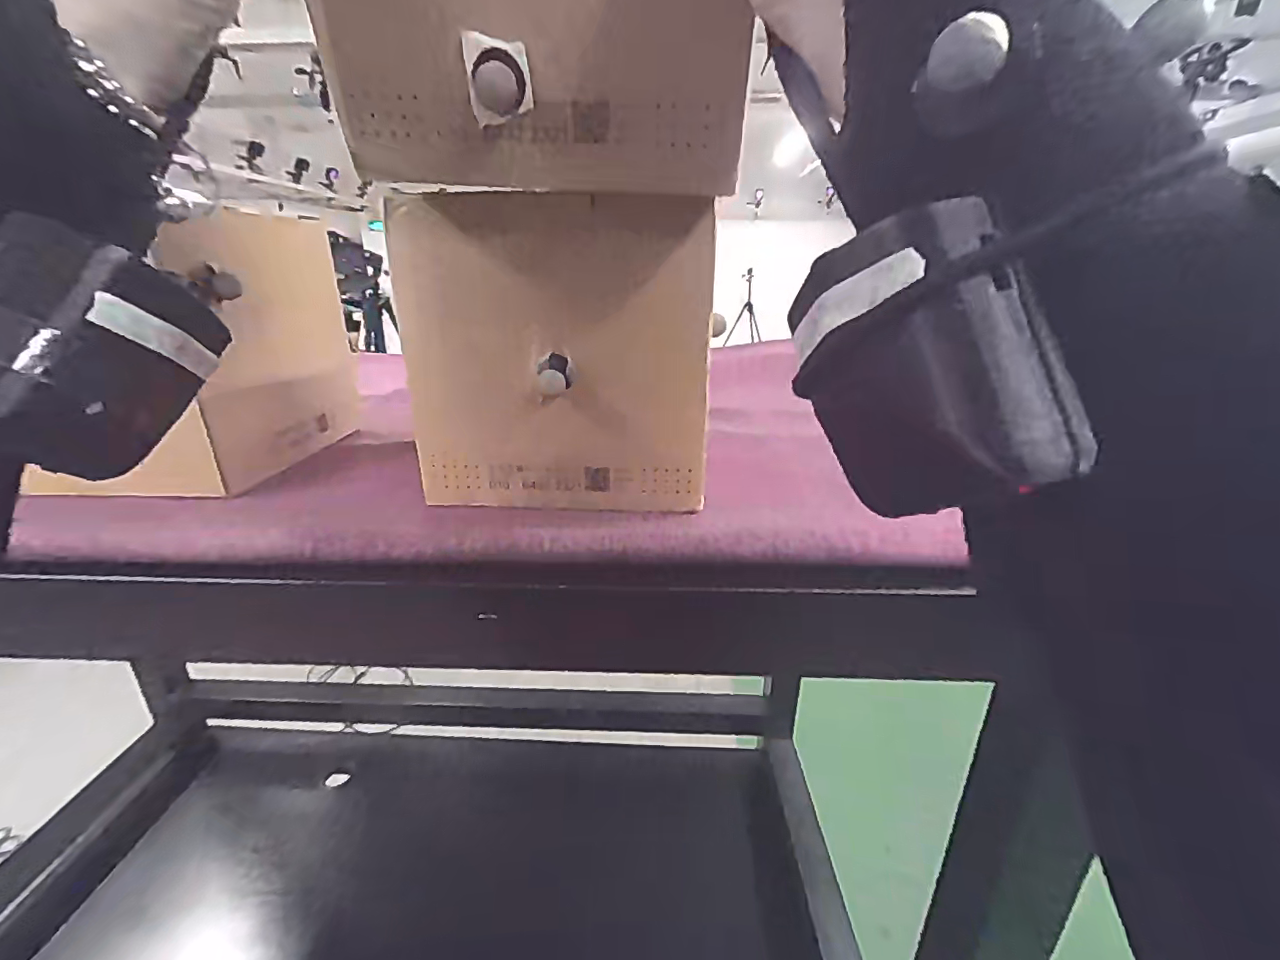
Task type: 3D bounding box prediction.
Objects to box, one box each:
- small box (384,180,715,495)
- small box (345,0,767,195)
[{"bbox_3d":[-0.037,-0.096,0.363,0.168,0.176,0.179,1,22,3],"label":"small box"},{"bbox_3d":[-0.029,-0.244,0.247,0.168,0.176,0.179,2,39,2],"label":"small box"}]
